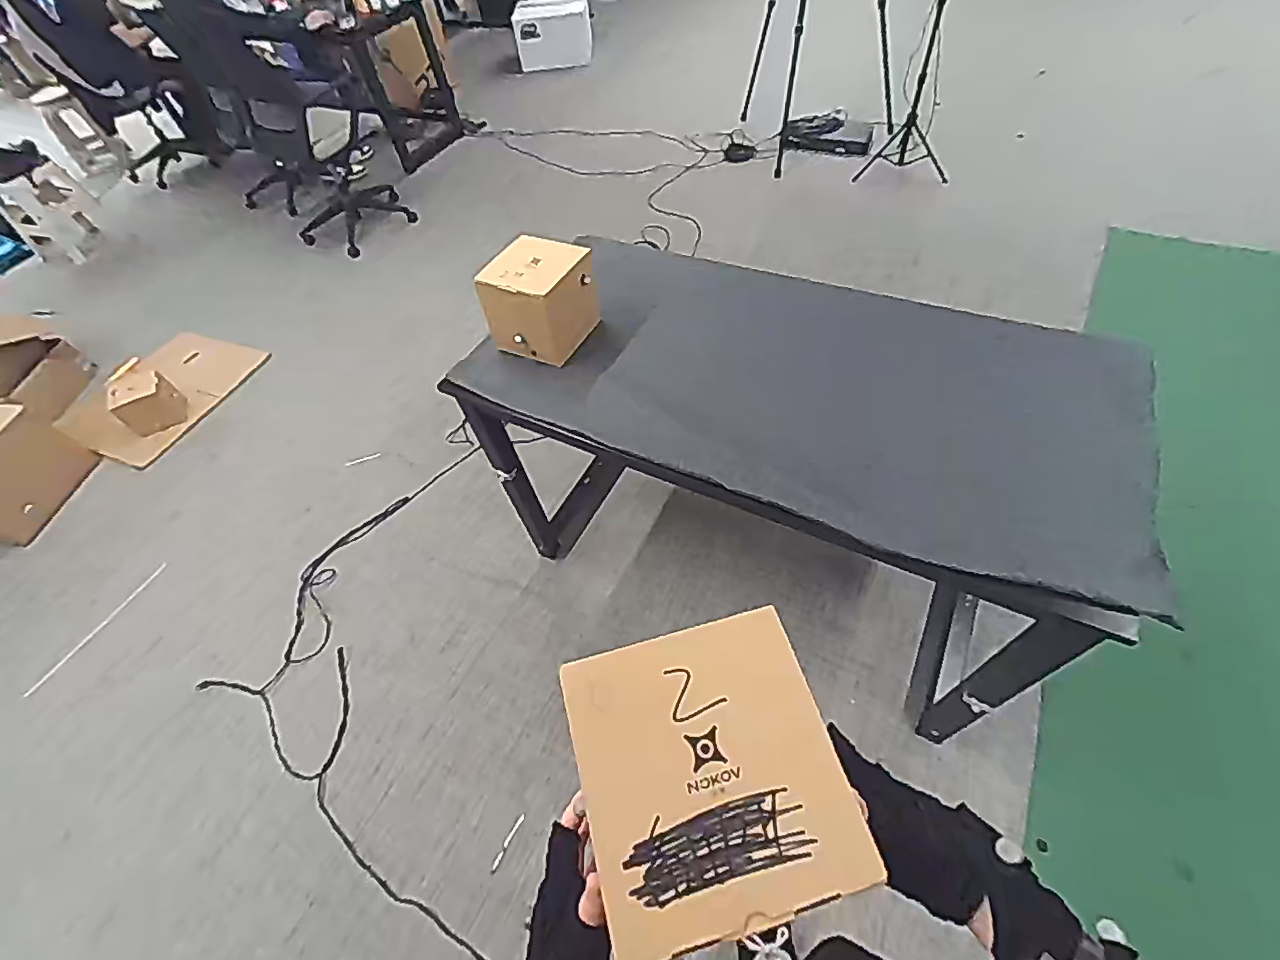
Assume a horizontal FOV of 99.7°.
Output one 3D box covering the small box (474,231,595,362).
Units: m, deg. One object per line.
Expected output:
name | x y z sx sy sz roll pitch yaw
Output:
small box | -0.203 -0.374 1.103 0.168 0.176 0.179 20 57 19
